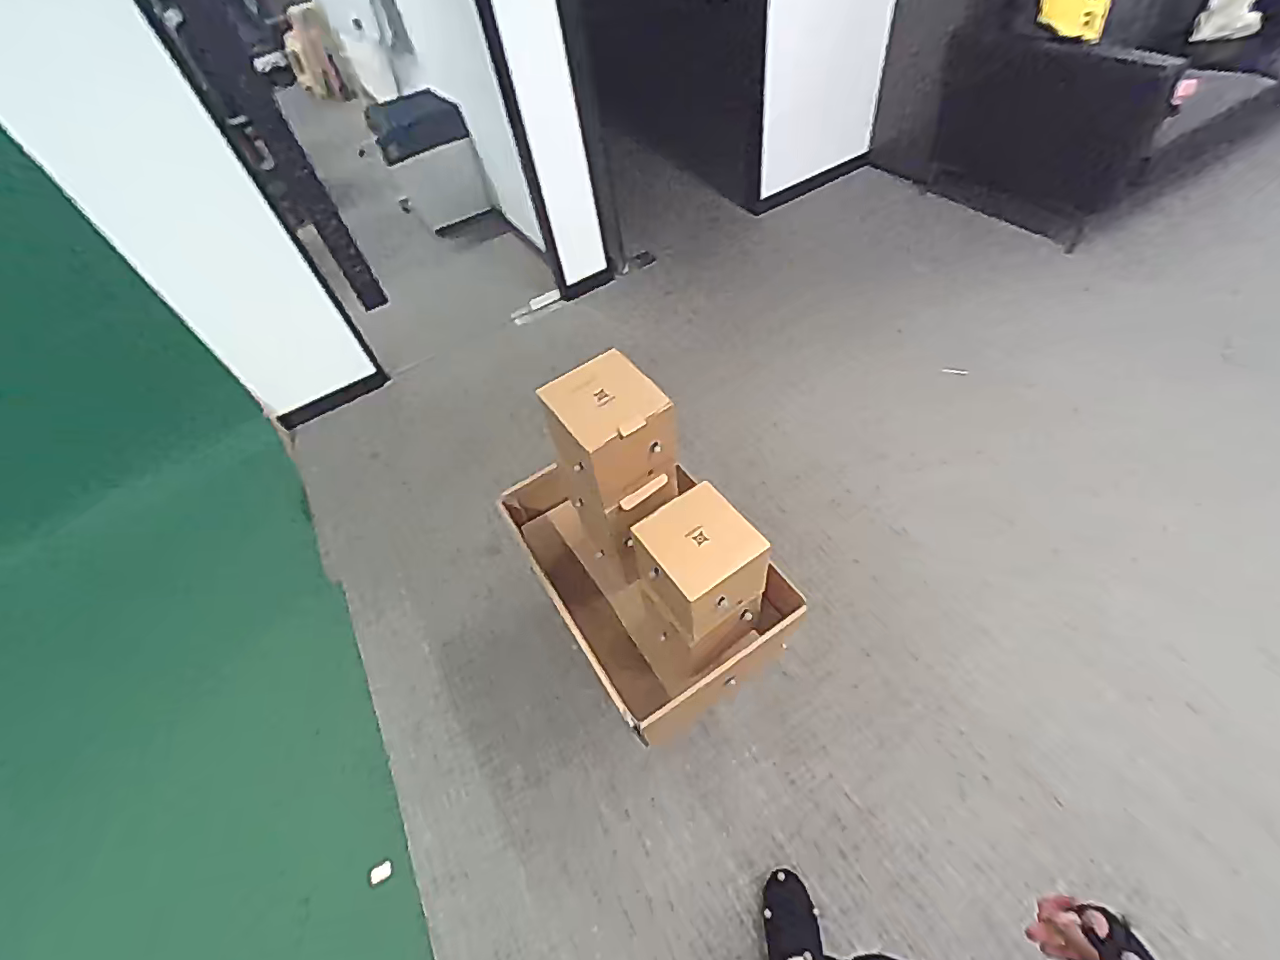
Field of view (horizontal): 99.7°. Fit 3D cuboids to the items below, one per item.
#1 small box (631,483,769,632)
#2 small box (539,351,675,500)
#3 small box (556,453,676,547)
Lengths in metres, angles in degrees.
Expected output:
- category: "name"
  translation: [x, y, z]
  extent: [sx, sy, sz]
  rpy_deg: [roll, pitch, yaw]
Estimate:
- category: "small box"
  translation: [0.107, 0.145, 0.955]
  extent: [0.168, 0.176, 0.179]
  rpy_deg: [-31, 54, -15]
- category: "small box"
  translation: [-0.050, -0.088, 0.954]
  extent: [0.168, 0.176, 0.179]
  rpy_deg: [-31, 57, -16]
- category: "small box"
  translation: [-0.040, 0.011, 1.083]
  extent: [0.168, 0.176, 0.179]
  rpy_deg: [-34, 57, -17]
